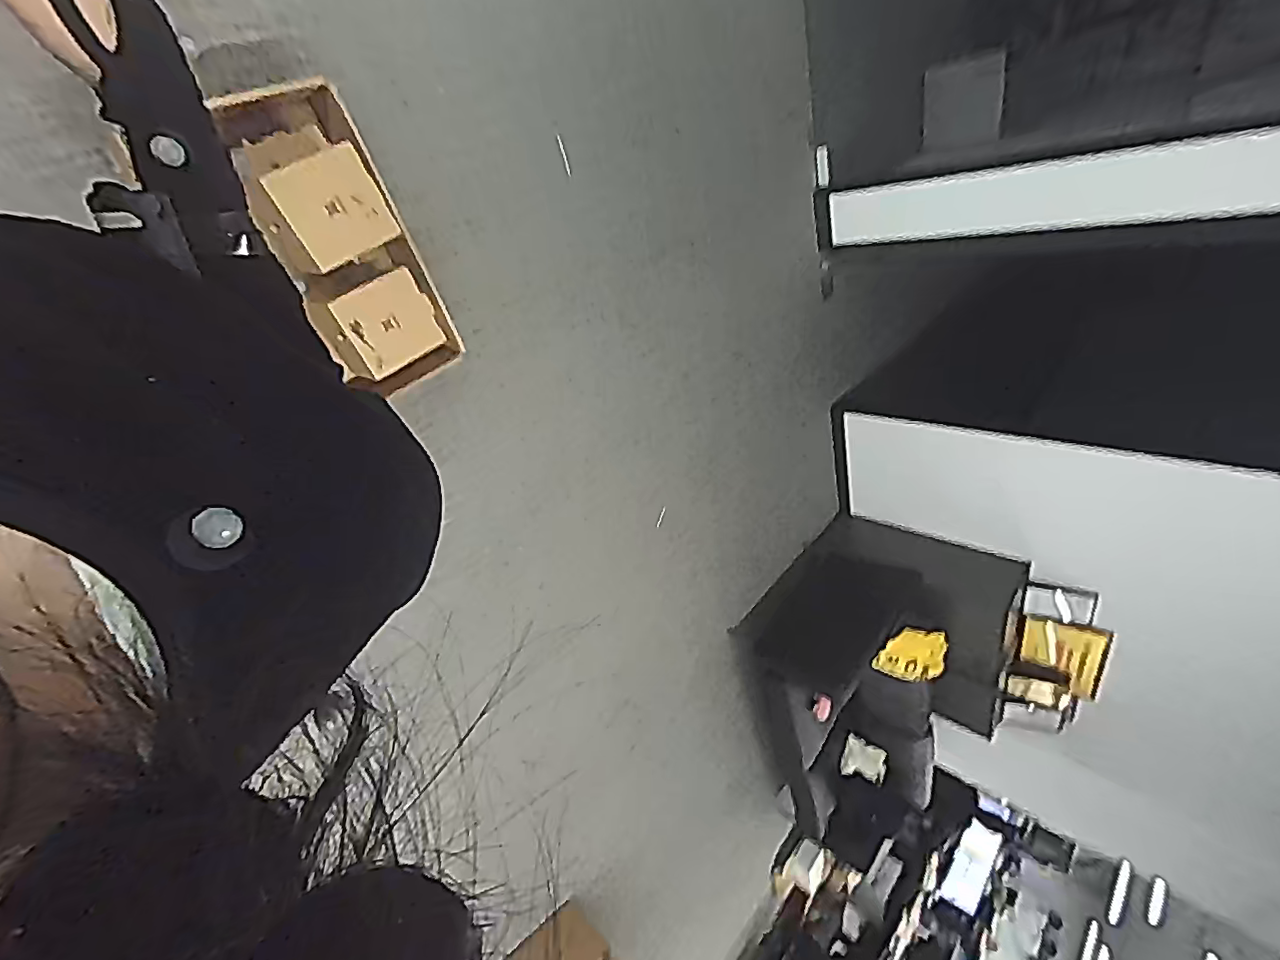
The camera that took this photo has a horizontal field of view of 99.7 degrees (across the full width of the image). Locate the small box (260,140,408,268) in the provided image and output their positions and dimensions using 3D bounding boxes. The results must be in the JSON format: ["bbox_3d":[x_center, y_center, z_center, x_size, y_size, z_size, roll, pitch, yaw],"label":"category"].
[{"bbox_3d":[-0.590,-0.522,1.036,0.179,0.176,0.168,-42,132,-24],"label":"small box"}]

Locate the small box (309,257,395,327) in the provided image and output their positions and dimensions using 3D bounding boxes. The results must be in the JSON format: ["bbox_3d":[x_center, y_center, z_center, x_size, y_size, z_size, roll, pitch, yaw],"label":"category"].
[{"bbox_3d":[-0.635,-0.398,1.269,0.168,0.176,0.179,-44,130,-24],"label":"small box"}]

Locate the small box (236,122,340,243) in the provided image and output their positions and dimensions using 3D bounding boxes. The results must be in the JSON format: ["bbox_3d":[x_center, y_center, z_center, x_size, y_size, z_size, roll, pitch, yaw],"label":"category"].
[{"bbox_3d":[-0.700,-0.613,1.130,0.168,0.176,0.179,-41,131,-25],"label":"small box"}]

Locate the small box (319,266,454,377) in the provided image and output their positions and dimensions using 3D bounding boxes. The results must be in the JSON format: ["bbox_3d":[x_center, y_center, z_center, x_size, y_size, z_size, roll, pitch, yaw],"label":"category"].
[{"bbox_3d":[-0.539,-0.339,1.147,0.179,0.176,0.168,-41,127,-27],"label":"small box"}]
